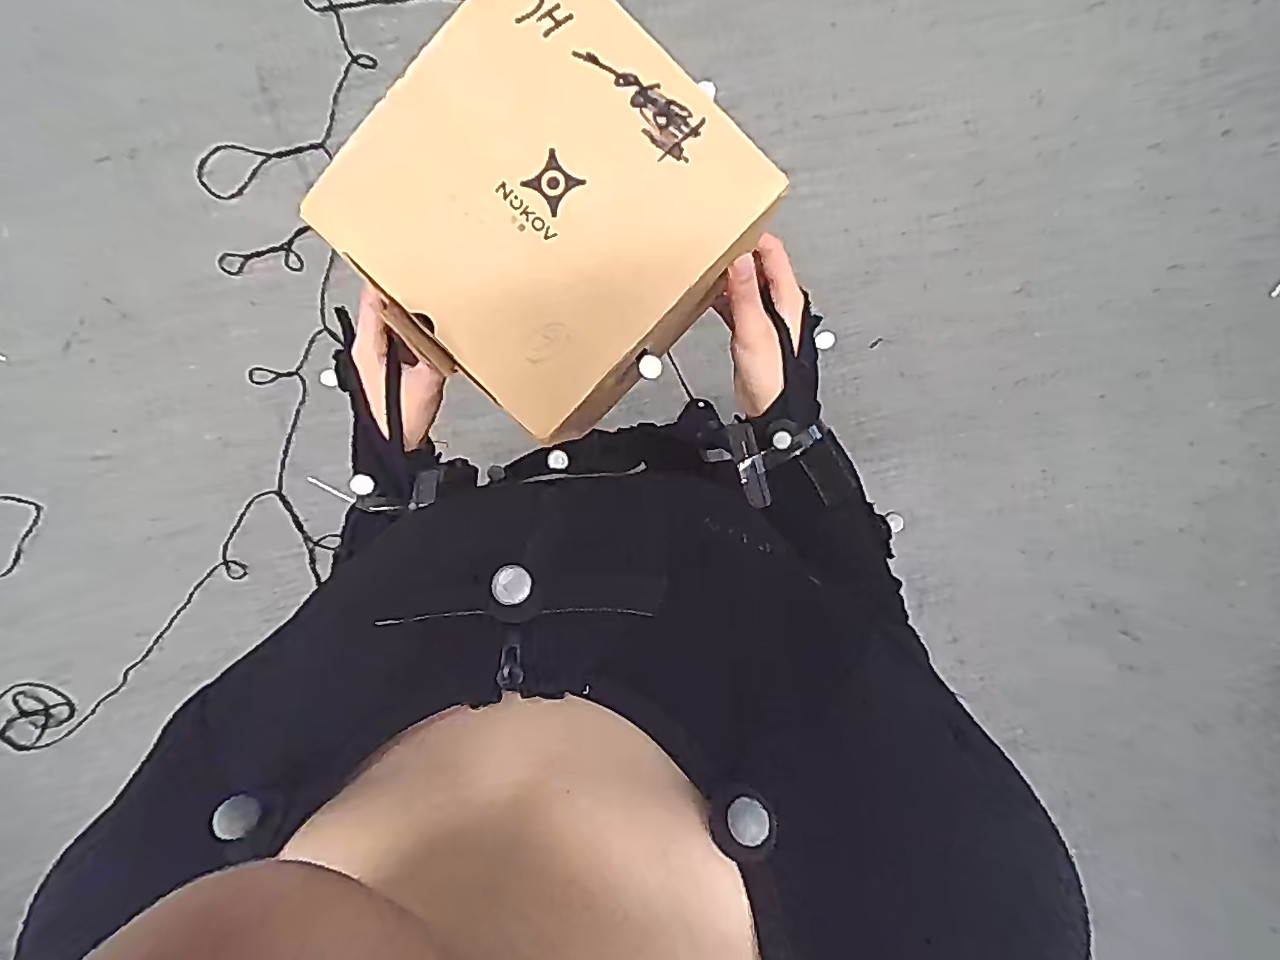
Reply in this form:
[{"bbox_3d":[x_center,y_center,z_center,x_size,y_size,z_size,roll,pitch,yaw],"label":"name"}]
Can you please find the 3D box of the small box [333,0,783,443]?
[{"bbox_3d":[-0.040,-0.143,0.352,0.168,0.176,0.179,44,96,-4],"label":"small box"}]
